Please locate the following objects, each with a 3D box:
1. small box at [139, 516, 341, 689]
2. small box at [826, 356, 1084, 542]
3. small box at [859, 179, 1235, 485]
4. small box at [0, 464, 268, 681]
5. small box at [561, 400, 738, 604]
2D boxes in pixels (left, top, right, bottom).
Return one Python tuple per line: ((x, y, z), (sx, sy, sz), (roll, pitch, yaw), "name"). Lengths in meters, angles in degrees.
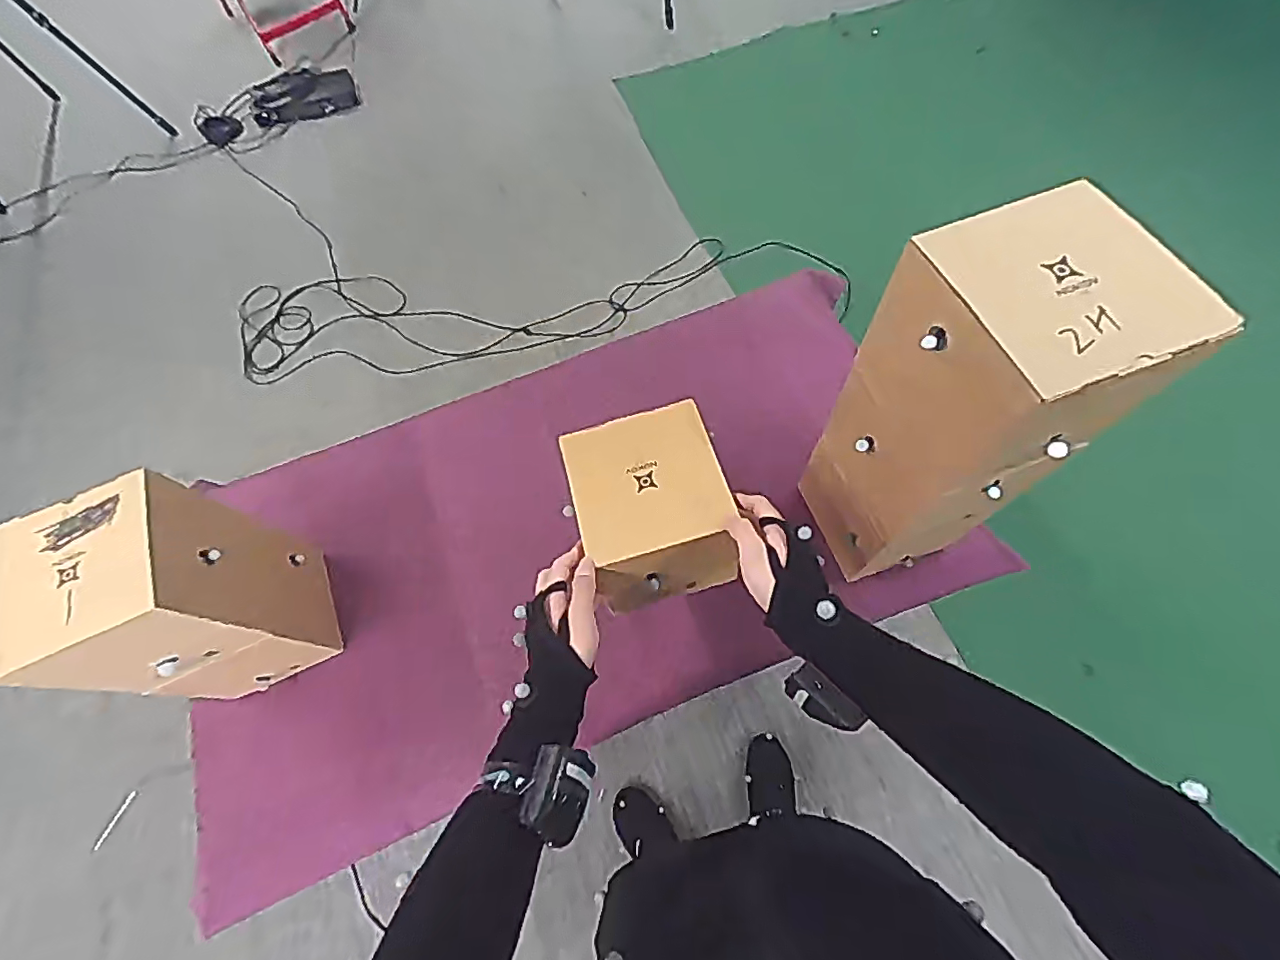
((-0.566, 0.182, 0.776), (0.168, 0.176, 0.179), (-24, 67, -6), "small box")
((0.342, -0.051, 0.635), (0.168, 0.176, 0.179), (-18, 65, -3), "small box")
((0.328, -0.122, 0.487), (0.168, 0.176, 0.179), (-19, 66, -3), "small box")
((-0.576, 0.115, 0.627), (0.168, 0.176, 0.179), (-24, 67, -6), "small box")
((0.015, 0.038, 0.660), (0.168, 0.176, 0.179), (-16, 59, -1), "small box")
